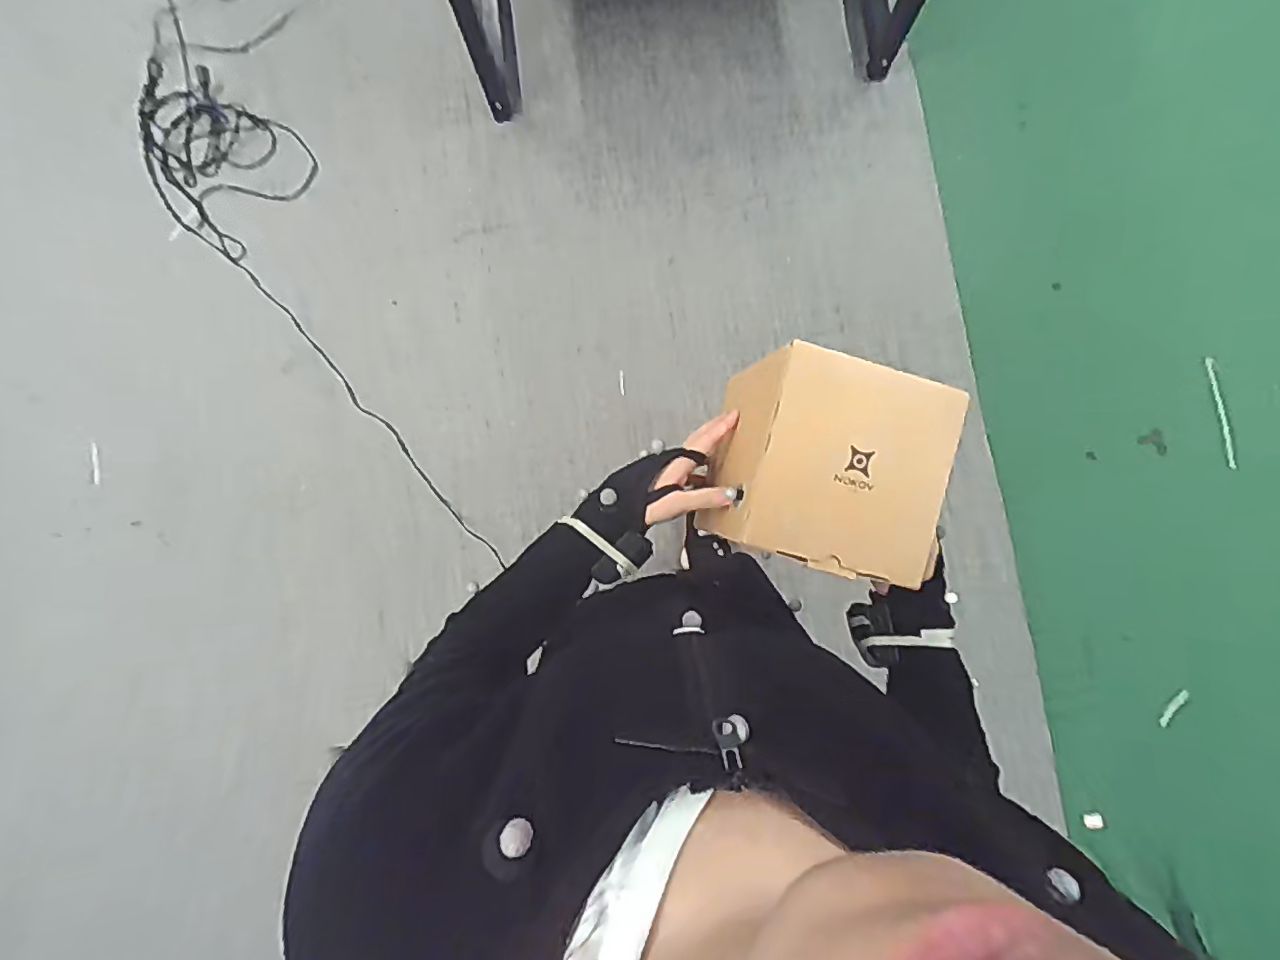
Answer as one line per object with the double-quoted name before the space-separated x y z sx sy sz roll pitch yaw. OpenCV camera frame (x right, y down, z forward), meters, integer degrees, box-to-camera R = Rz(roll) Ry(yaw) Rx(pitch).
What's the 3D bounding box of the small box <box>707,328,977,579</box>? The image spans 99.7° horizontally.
"small box" 0.175 -0.022 0.520 0.168 0.176 0.179 14 90 -7
